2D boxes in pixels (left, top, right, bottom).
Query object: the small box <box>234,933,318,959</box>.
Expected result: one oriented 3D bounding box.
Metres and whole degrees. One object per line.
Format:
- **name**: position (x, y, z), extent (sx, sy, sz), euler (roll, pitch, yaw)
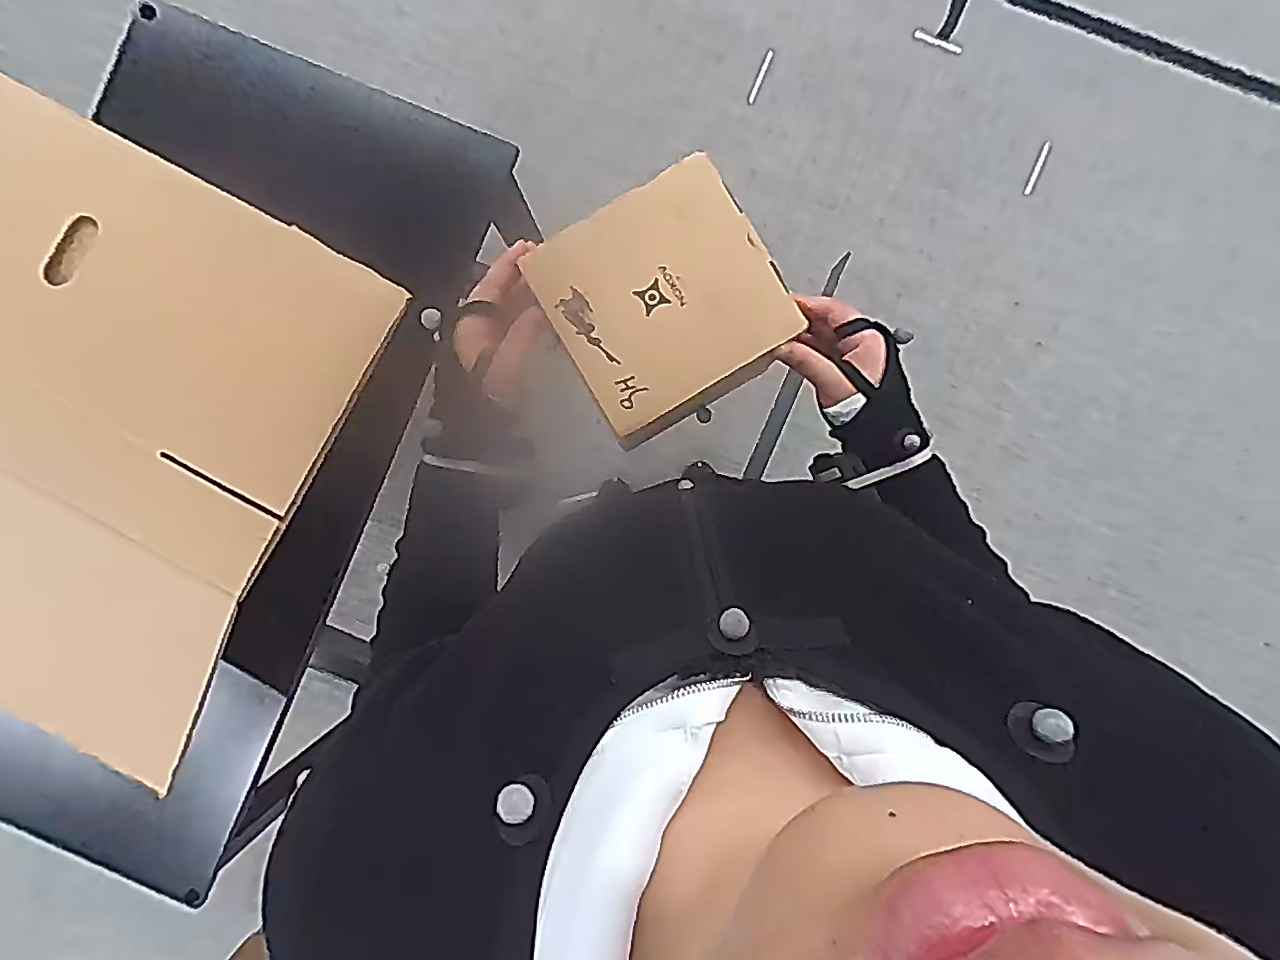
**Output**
- **small box**: position (-0.909, 1.235, 1.282), extent (0.179, 0.176, 0.168), euler (16, 90, 2)
